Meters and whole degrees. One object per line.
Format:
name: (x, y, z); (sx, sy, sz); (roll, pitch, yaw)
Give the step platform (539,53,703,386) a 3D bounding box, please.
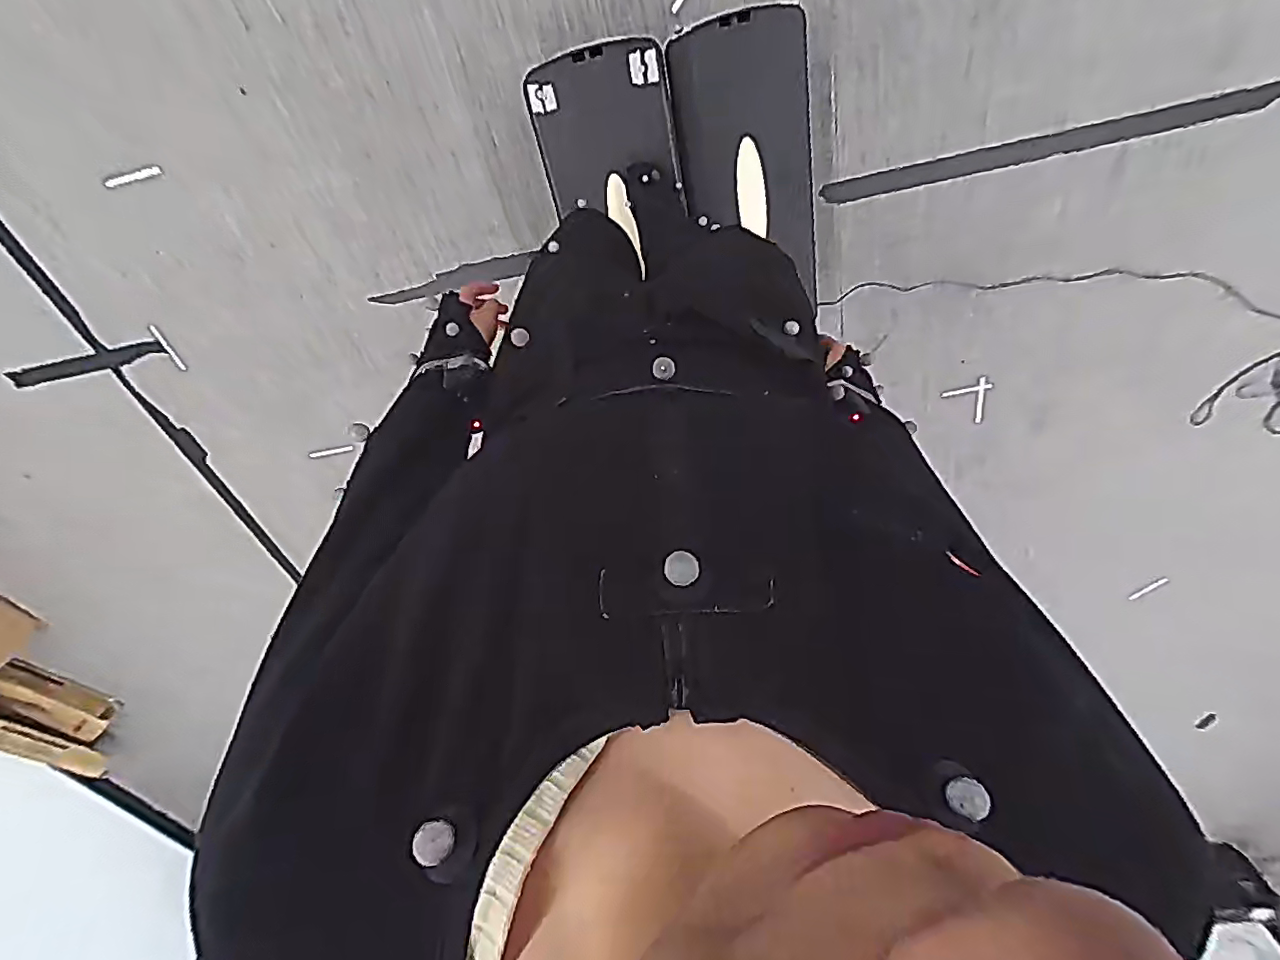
step platform: (-0.021, -0.560, 1.261); (0.286, 0.204, 0.684); (-7, 122, 5)
